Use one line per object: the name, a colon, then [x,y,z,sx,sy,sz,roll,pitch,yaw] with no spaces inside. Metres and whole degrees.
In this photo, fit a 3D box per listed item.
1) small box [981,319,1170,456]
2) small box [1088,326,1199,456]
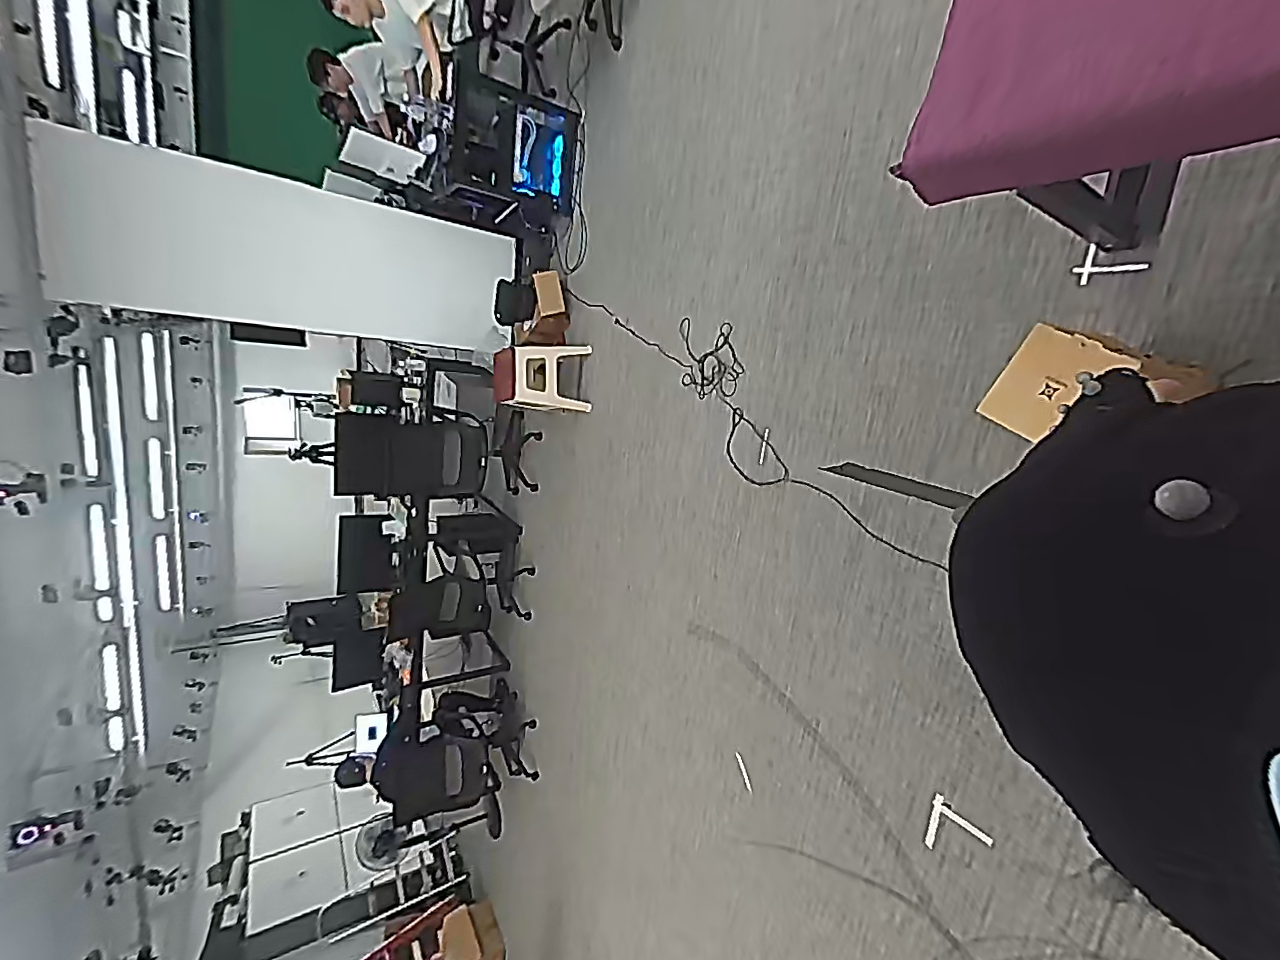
small box: [0.748,-0.155,0.930,0.168,0.176,0.179,50,131,42]
small box: [0.885,-0.164,1.017,0.168,0.176,0.179,57,136,37]
